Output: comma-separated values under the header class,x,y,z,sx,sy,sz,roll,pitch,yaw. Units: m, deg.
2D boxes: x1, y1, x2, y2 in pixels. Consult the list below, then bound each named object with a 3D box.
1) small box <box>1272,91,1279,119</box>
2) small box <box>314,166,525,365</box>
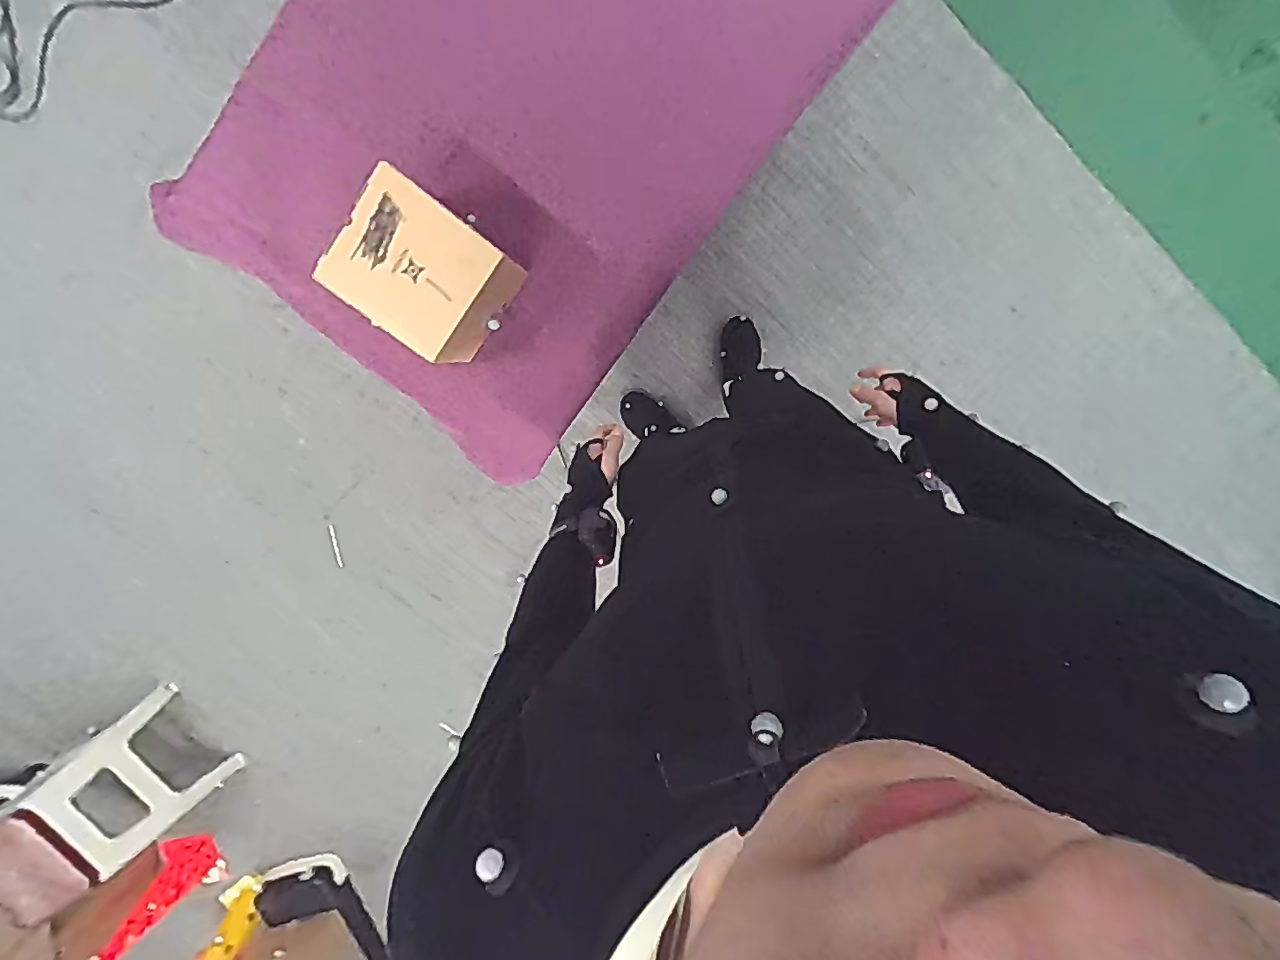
class,x,y,z,sx,sy,sz,roll,pitch,yaw
small box,1.775,-0.990,1.348,0.168,0.176,0.179,41,99,-9
small box,-0.281,-0.271,0.730,0.179,0.176,0.168,36,100,-9
